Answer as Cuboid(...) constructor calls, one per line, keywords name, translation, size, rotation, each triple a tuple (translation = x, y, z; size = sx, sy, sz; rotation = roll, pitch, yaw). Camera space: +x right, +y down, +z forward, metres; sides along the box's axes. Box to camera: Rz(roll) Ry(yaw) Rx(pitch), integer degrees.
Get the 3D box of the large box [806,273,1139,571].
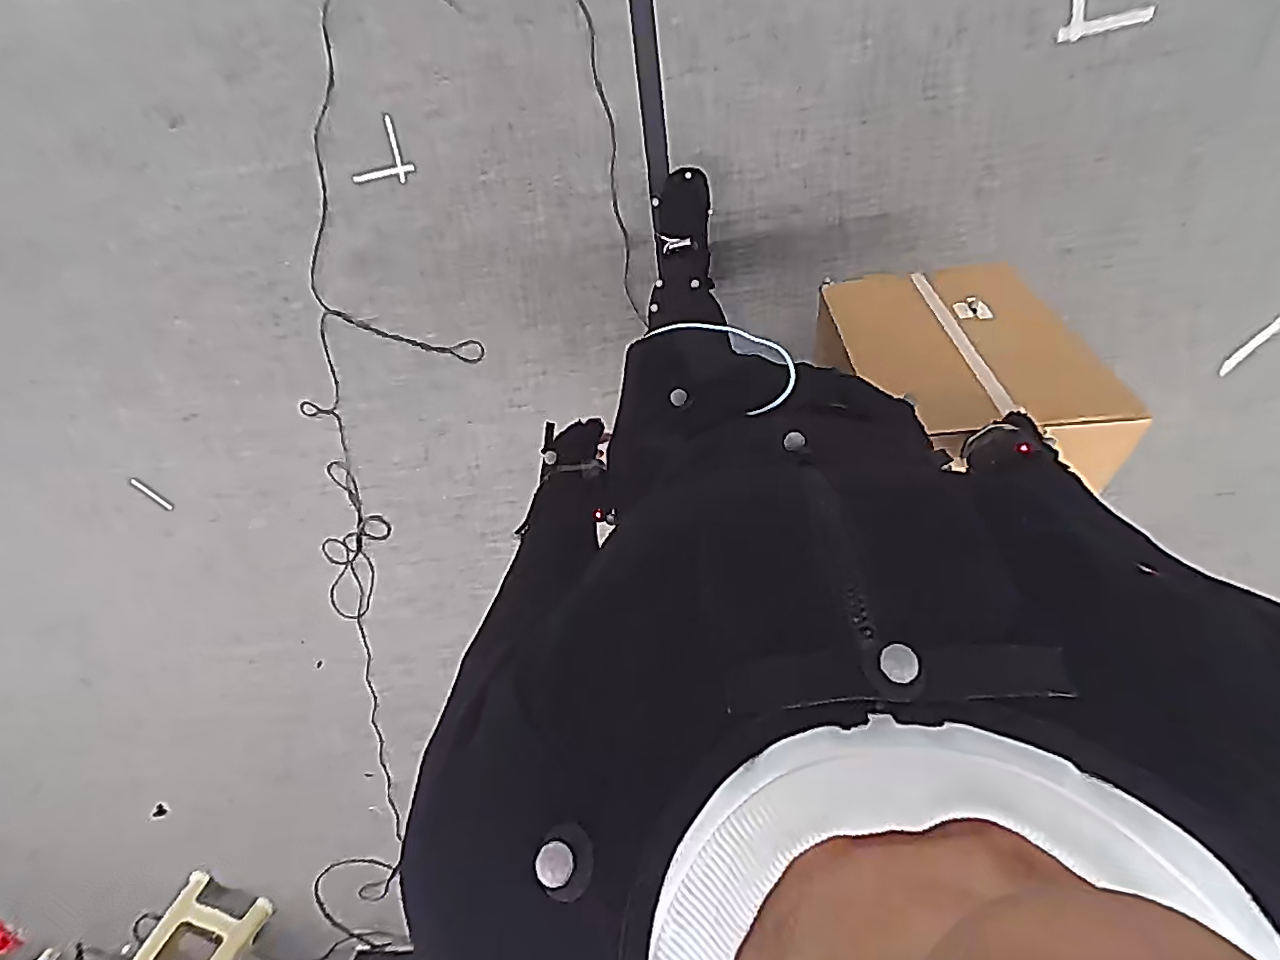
Cuboid(name="large box", translation=(0.488, -0.102, 0.922), size=(0.320, 0.408, 0.320), rotation=(-4, 135, 5))
